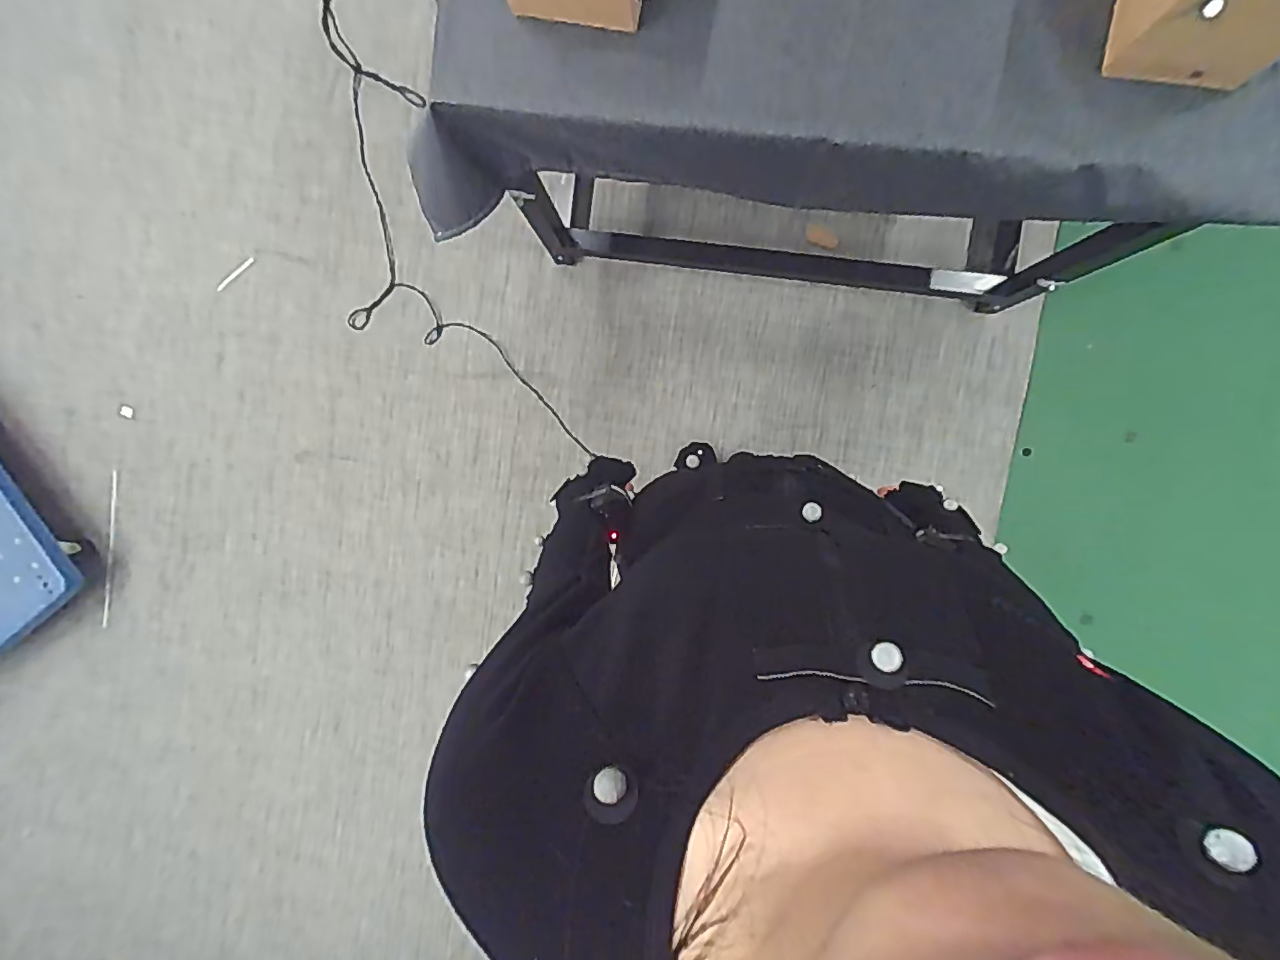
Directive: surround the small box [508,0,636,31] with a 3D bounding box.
[{"bbox_3d":[-0.084,-0.697,0.657,0.179,0.176,0.168,11,94,3],"label":"small box"}]
